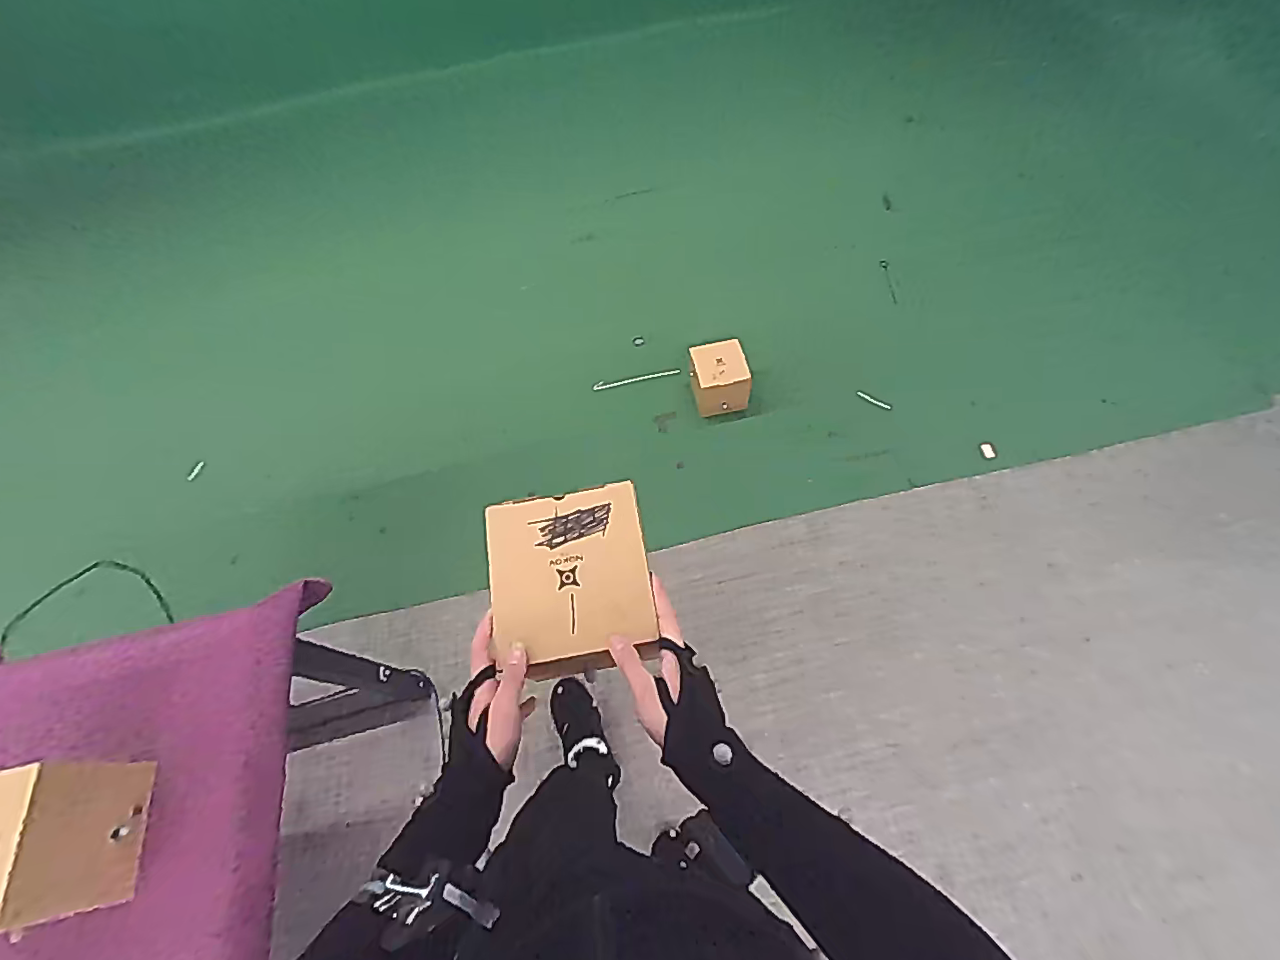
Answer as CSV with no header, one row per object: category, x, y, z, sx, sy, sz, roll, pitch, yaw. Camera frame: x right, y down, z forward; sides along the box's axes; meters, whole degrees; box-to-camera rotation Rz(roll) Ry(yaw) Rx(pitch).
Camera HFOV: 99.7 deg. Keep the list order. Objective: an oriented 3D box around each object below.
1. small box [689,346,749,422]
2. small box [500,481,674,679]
small box,0.261,-0.322,1.833,0.168,0.176,0.179,-11,61,-1
small box,-0.057,0.123,0.630,0.168,0.176,0.179,-10,66,-1
